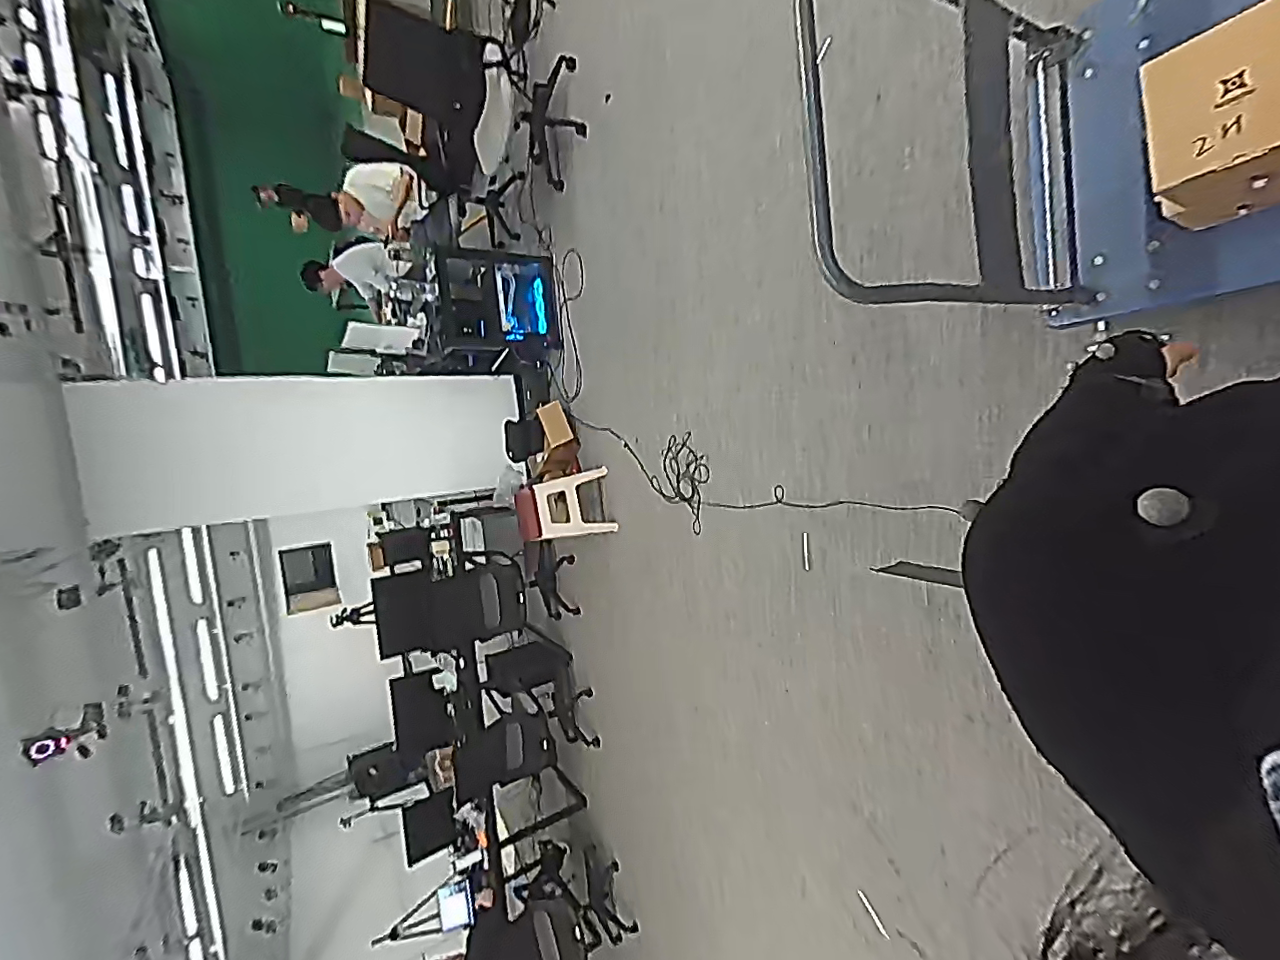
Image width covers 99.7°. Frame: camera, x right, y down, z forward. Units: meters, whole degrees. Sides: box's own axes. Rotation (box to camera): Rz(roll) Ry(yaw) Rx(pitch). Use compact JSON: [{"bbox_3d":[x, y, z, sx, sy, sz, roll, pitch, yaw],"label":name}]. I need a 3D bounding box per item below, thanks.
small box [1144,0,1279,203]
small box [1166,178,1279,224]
[{"bbox_3d":[0.802,-0.494,0.708,0.168,0.176,0.179,-5,93,58],"label":"small box"},{"bbox_3d":[0.926,-0.514,0.818,0.168,0.176,0.179,-6,92,58],"label":"small box"}]
